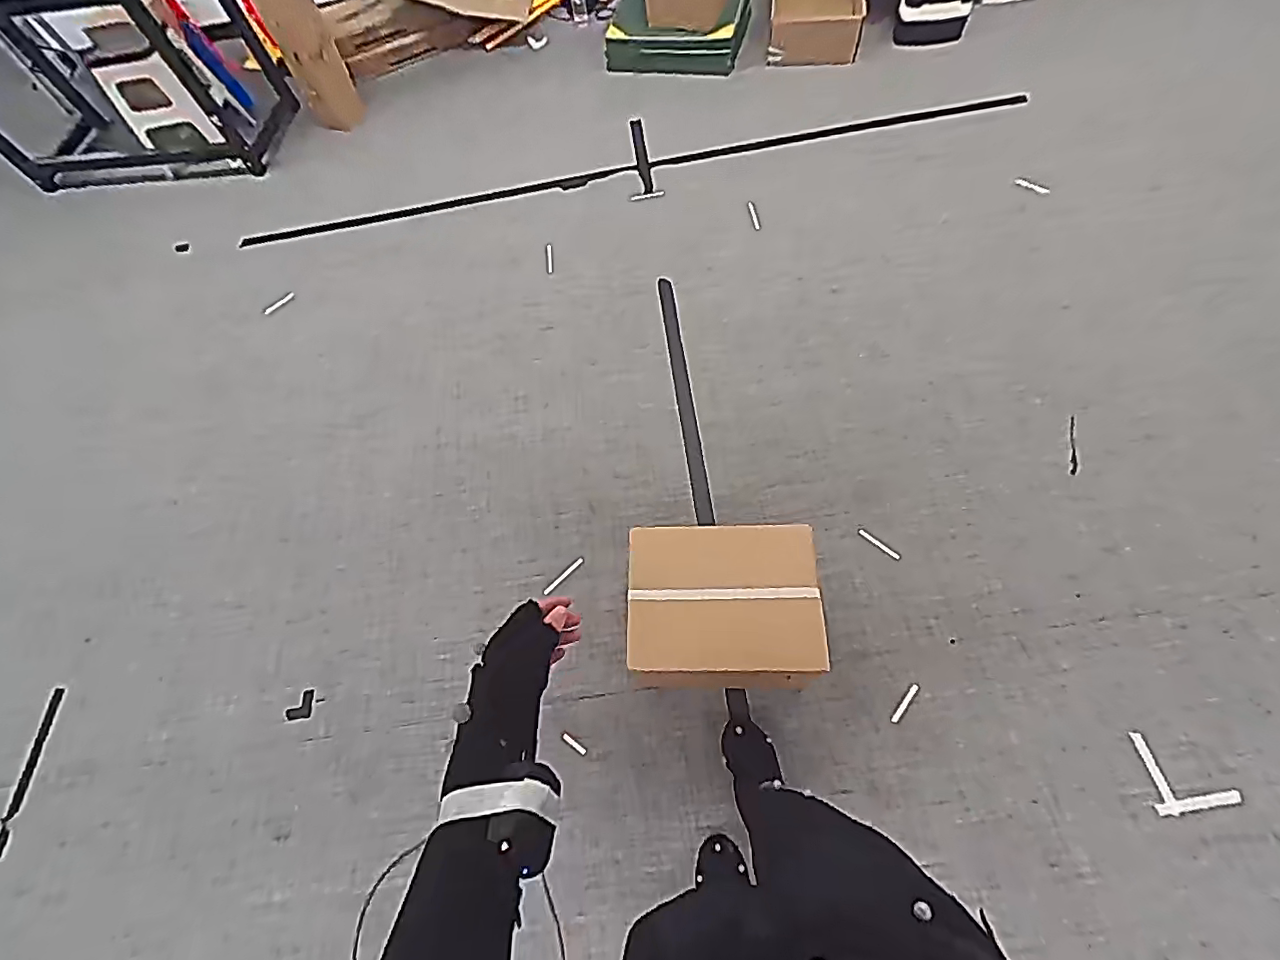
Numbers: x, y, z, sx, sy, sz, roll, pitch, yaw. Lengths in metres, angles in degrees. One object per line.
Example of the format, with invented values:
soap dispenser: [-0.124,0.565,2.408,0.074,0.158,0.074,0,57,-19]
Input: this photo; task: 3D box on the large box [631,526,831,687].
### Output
large box: [0.194,0.312,1.274,0.408,0.320,0.320,-2,63,5]
